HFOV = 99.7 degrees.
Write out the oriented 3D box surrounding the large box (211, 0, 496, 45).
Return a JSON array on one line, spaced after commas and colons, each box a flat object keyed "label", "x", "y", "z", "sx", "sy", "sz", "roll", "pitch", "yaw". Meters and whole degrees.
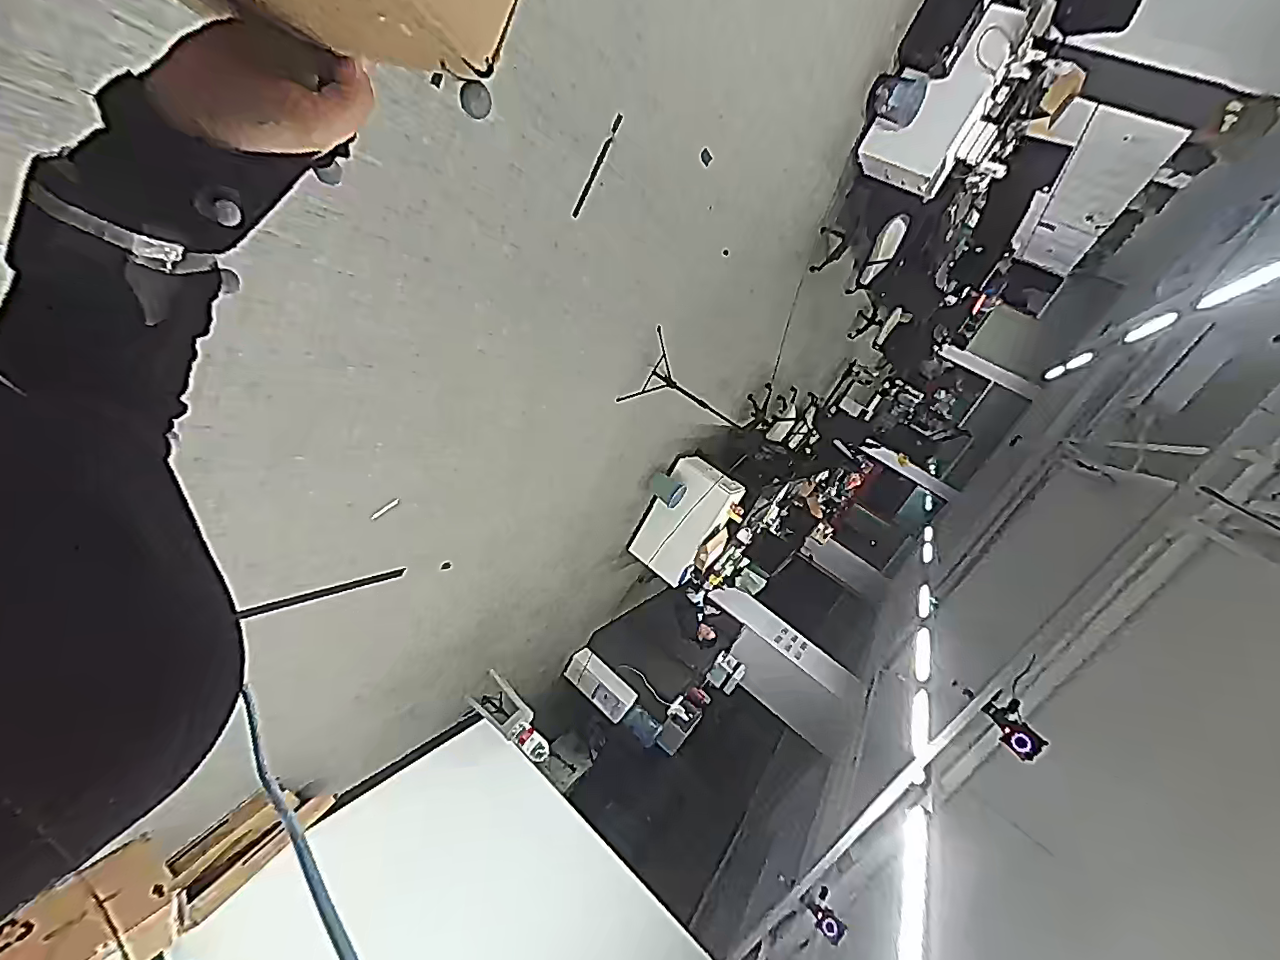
[{"label": "large box", "x": -0.201, "y": -0.373, "z": 0.067, "sx": 0.408, "sy": 0.320, "sz": 0.320, "roll": 7, "pitch": 115, "yaw": -59}]
